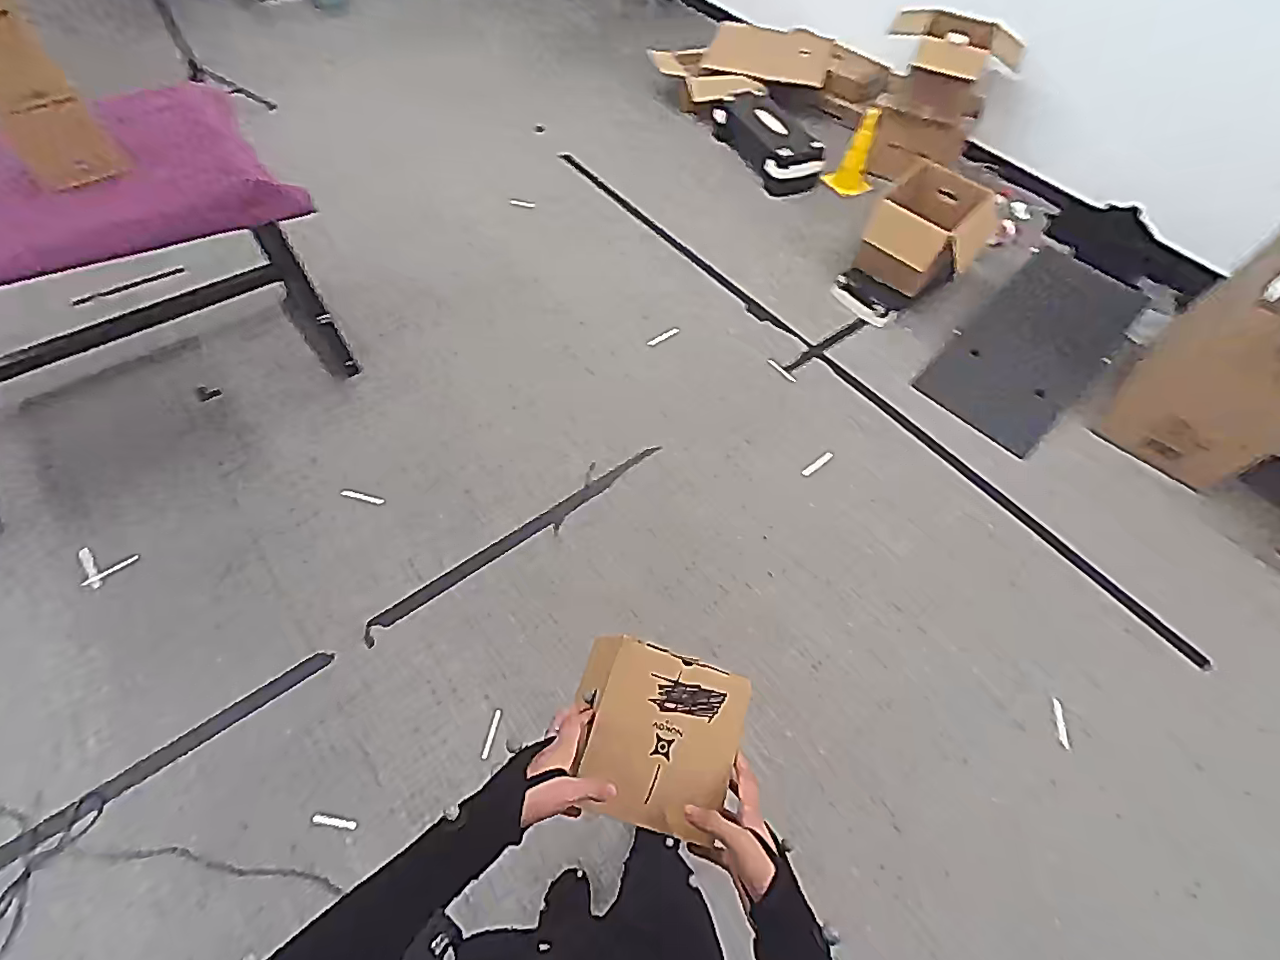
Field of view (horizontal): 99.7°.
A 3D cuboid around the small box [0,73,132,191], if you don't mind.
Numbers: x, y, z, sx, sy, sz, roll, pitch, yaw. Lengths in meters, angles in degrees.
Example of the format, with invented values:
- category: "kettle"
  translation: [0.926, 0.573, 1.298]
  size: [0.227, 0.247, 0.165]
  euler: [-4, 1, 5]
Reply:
- category: "small box"
  translation: [-1.389, -0.837, 1.306]
  size: [0.179, 0.176, 0.168]
  euler: [-36, 67, -23]

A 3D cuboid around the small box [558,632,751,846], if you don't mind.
- category: "small box"
  translation: [0.008, 0.294, 0.650]
  size: [0.168, 0.176, 0.179]
  euler: [21, 70, -8]
